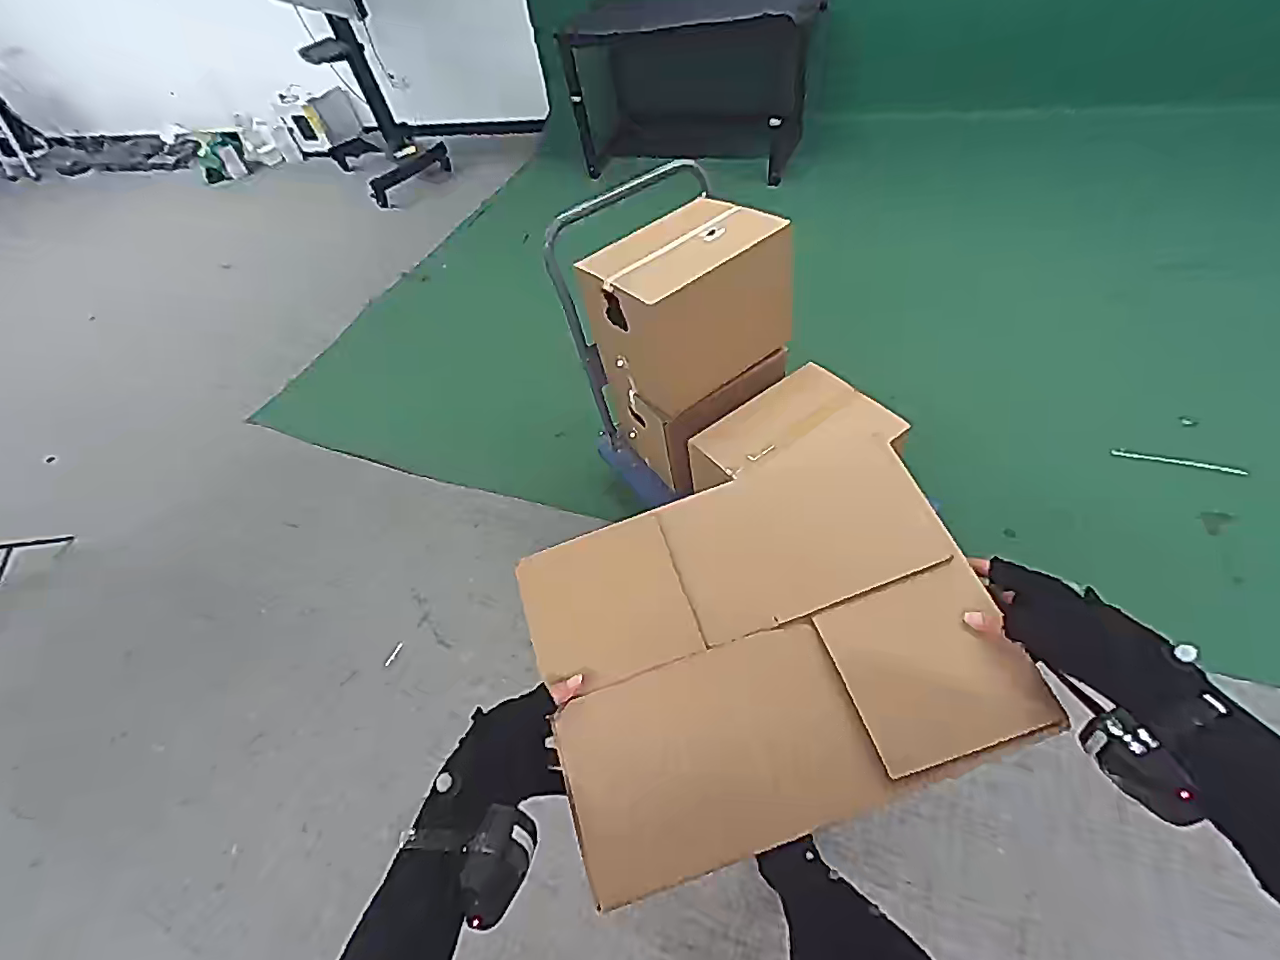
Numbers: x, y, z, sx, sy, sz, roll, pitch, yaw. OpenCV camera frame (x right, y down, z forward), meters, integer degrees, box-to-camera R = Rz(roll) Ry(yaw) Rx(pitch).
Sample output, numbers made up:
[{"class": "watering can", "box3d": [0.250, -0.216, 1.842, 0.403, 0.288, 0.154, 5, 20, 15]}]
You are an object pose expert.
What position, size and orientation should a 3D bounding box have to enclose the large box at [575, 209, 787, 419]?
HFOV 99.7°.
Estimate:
[{"class": "large box", "box3d": [0.114, -0.420, 1.347, 0.408, 0.320, 0.320, -34, 48, -17]}]
